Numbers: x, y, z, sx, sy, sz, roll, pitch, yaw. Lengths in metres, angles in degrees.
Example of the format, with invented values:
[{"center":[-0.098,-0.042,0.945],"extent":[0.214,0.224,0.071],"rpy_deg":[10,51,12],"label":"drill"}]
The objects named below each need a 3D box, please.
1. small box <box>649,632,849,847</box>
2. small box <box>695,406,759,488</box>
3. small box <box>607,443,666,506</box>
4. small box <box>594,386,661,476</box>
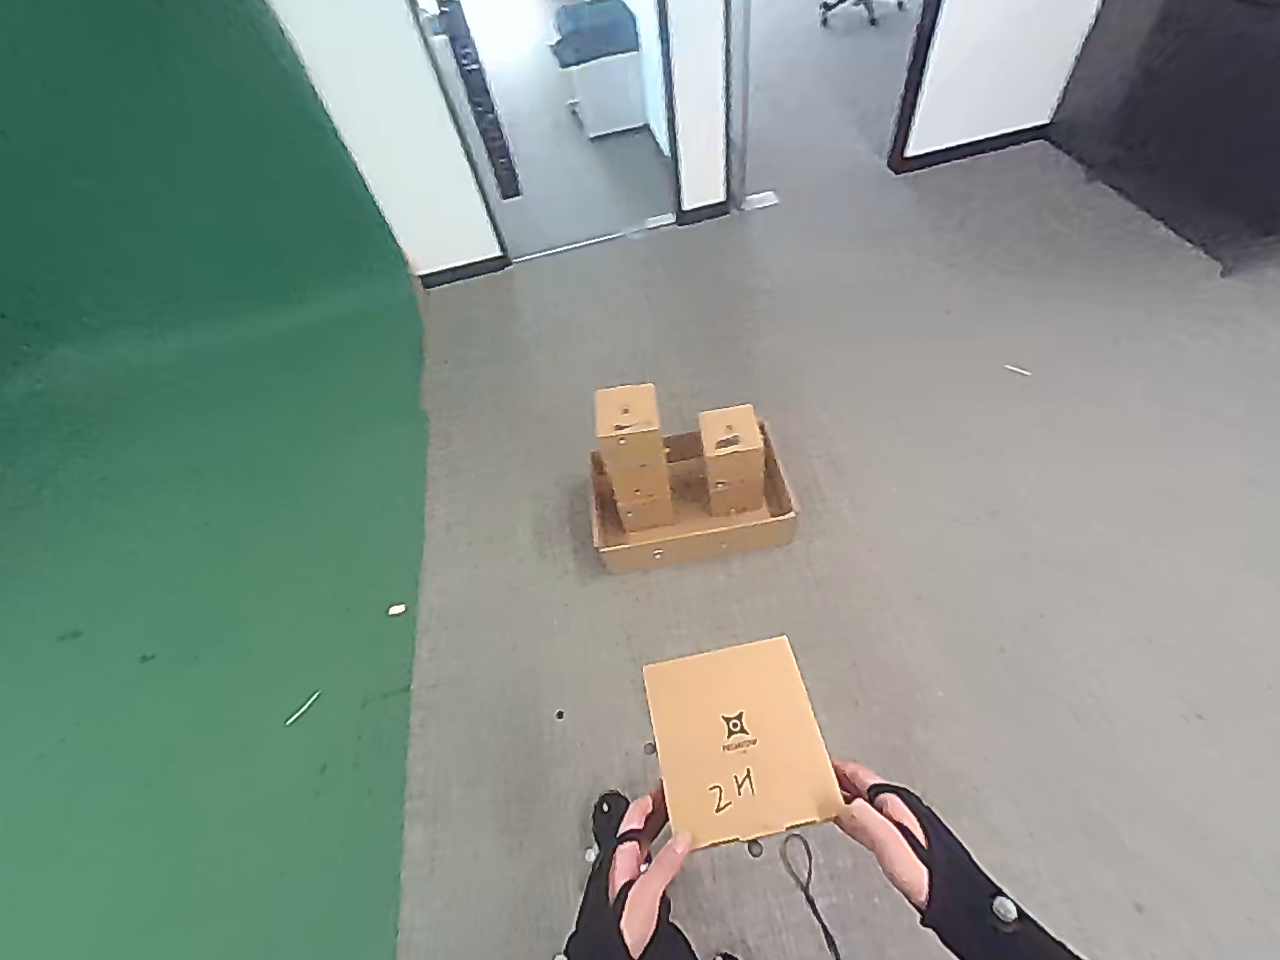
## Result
[{"center":[0.107,0.295,0.607],"extent":[0.168,0.176,0.179],"rpy_deg":[-11,55,-1],"label":"small box"},{"center":[0.263,-0.091,1.626],"extent":[0.168,0.176,0.179],"rpy_deg":[-9,52,4],"label":"small box"},{"center":[-0.016,-0.046,1.639],"extent":[0.168,0.176,0.179],"rpy_deg":[-9,53,1],"label":"small box"},{"center":[-0.035,-0.135,1.502],"extent":[0.168,0.176,0.179],"rpy_deg":[-7,52,3],"label":"small box"}]
